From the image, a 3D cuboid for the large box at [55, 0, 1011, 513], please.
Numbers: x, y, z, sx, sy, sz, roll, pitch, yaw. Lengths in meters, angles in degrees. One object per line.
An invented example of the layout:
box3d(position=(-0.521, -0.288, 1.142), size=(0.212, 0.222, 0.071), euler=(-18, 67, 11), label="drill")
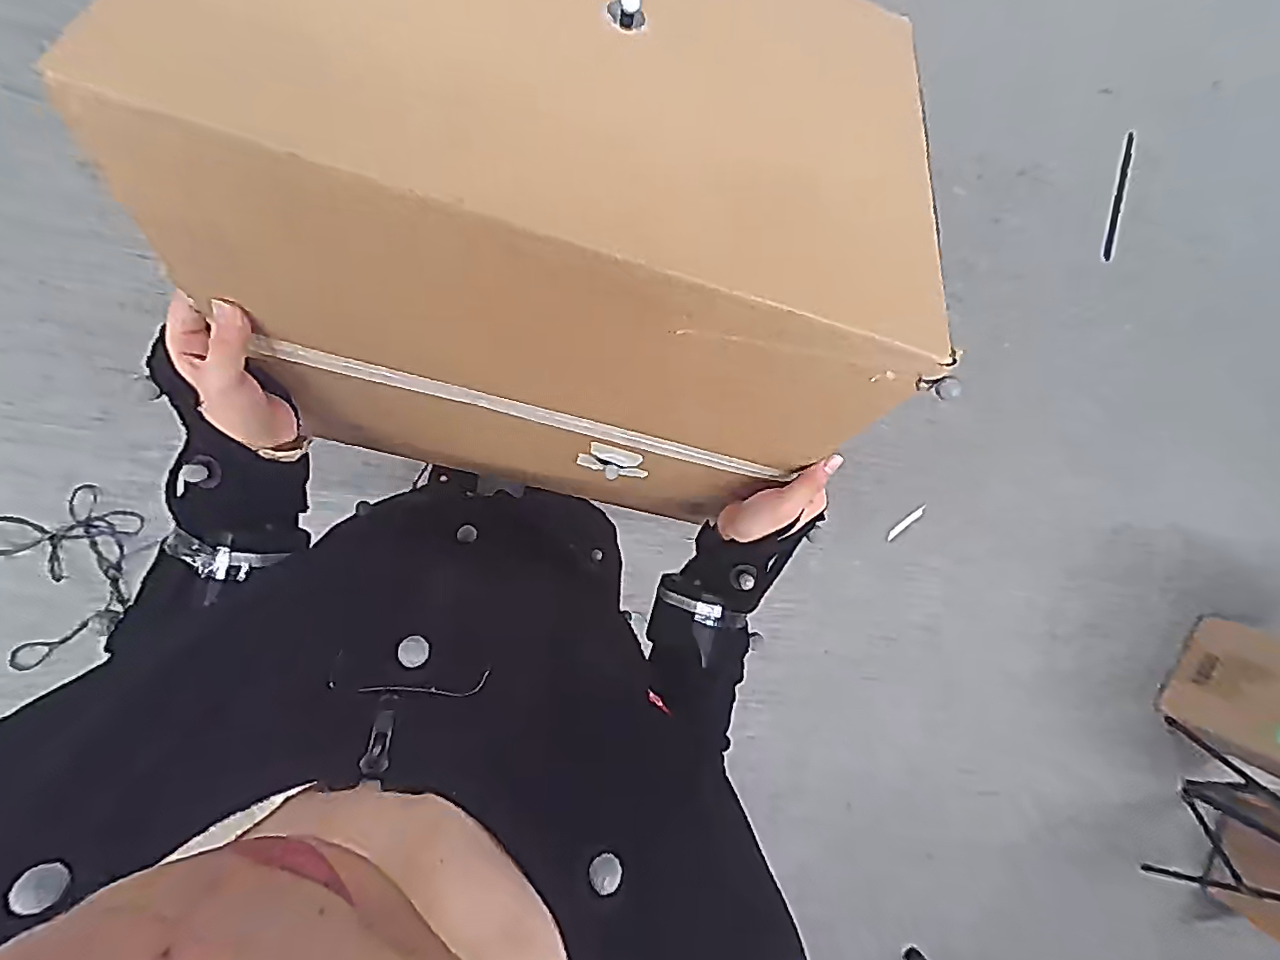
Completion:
box3d(position=(-0.035, -0.200, 0.412), size=(0.408, 0.320, 0.320), euler=(13, 67, -11), label="large box")
